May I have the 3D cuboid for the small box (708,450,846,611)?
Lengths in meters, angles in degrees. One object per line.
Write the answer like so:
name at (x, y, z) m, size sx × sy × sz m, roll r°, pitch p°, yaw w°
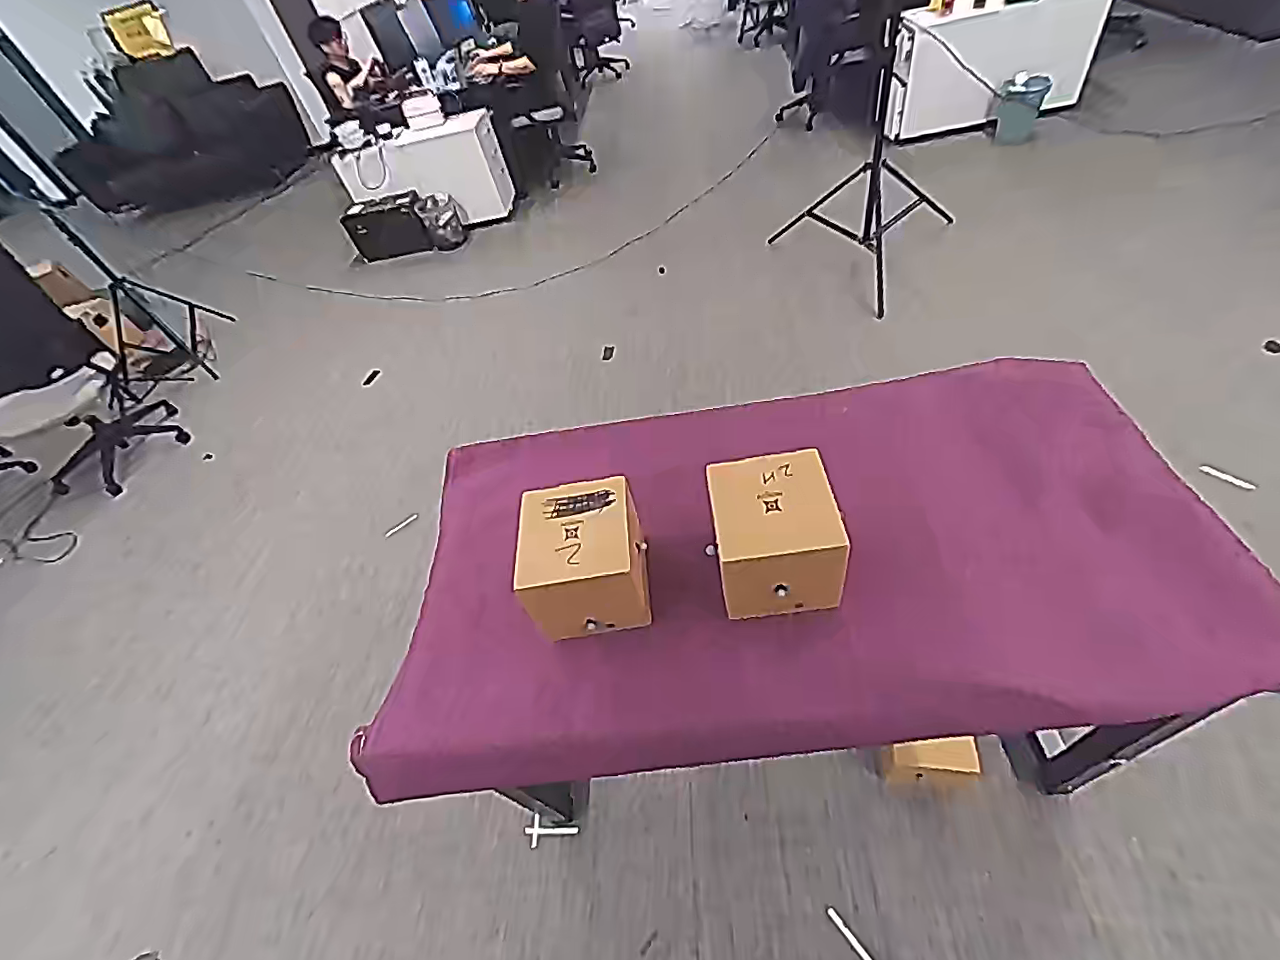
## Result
small box at (0.198, 0.084, 0.810) m, size 0.168 × 0.176 × 0.179 m, roll -8°, pitch 48°, yaw 6°

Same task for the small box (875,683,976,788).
small box at (0.645, 0.590, 1.243) m, size 0.168 × 0.176 × 0.179 m, roll -1°, pitch 49°, yaw 14°
